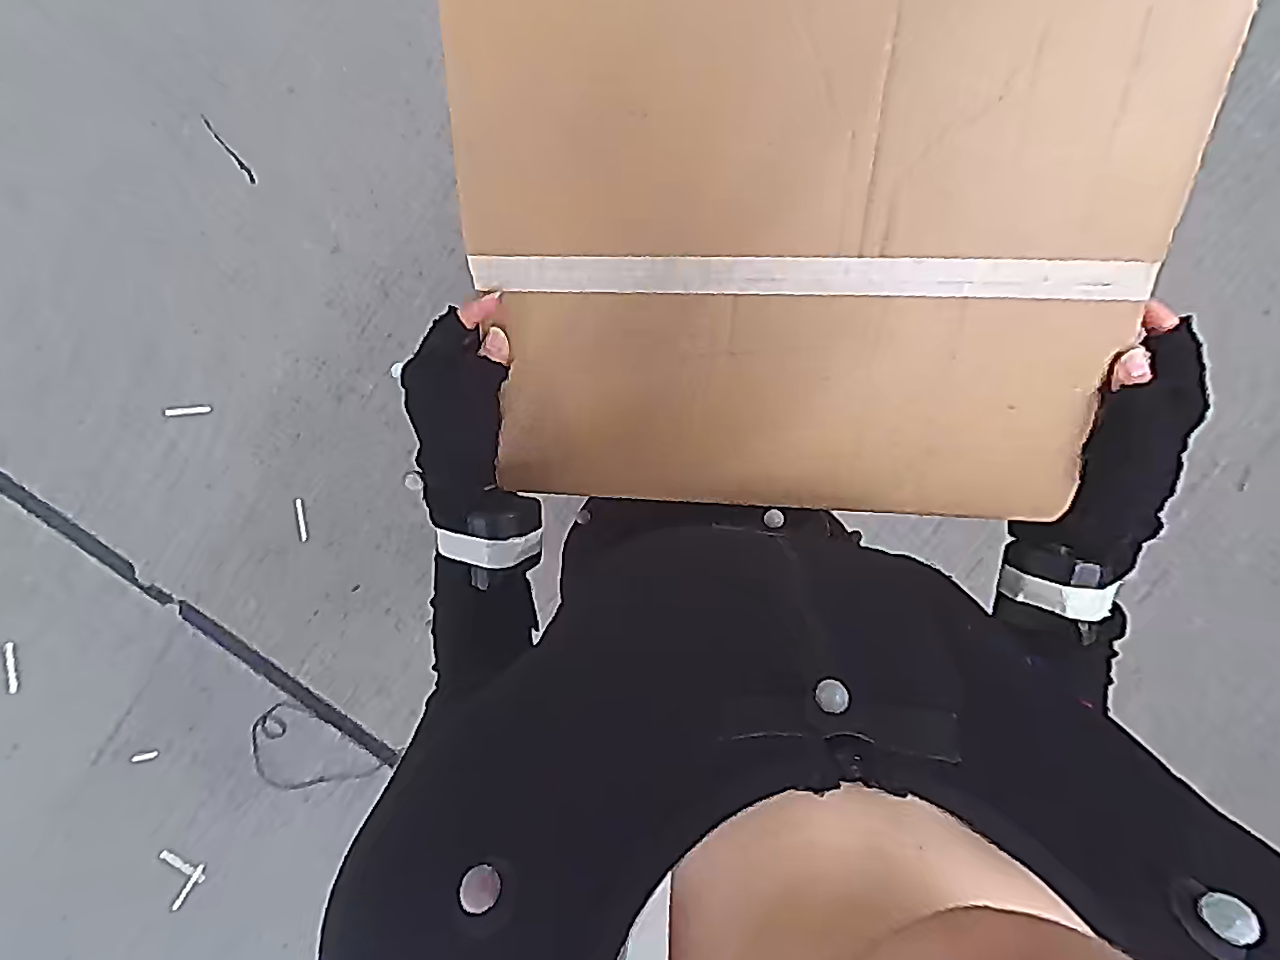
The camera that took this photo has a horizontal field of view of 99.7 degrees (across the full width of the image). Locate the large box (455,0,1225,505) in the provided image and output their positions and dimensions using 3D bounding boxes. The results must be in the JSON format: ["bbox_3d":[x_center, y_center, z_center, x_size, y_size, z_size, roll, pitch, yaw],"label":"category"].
[{"bbox_3d":[0.107,-0.189,0.474,0.408,0.320,0.320,3,115,5],"label":"large box"}]
